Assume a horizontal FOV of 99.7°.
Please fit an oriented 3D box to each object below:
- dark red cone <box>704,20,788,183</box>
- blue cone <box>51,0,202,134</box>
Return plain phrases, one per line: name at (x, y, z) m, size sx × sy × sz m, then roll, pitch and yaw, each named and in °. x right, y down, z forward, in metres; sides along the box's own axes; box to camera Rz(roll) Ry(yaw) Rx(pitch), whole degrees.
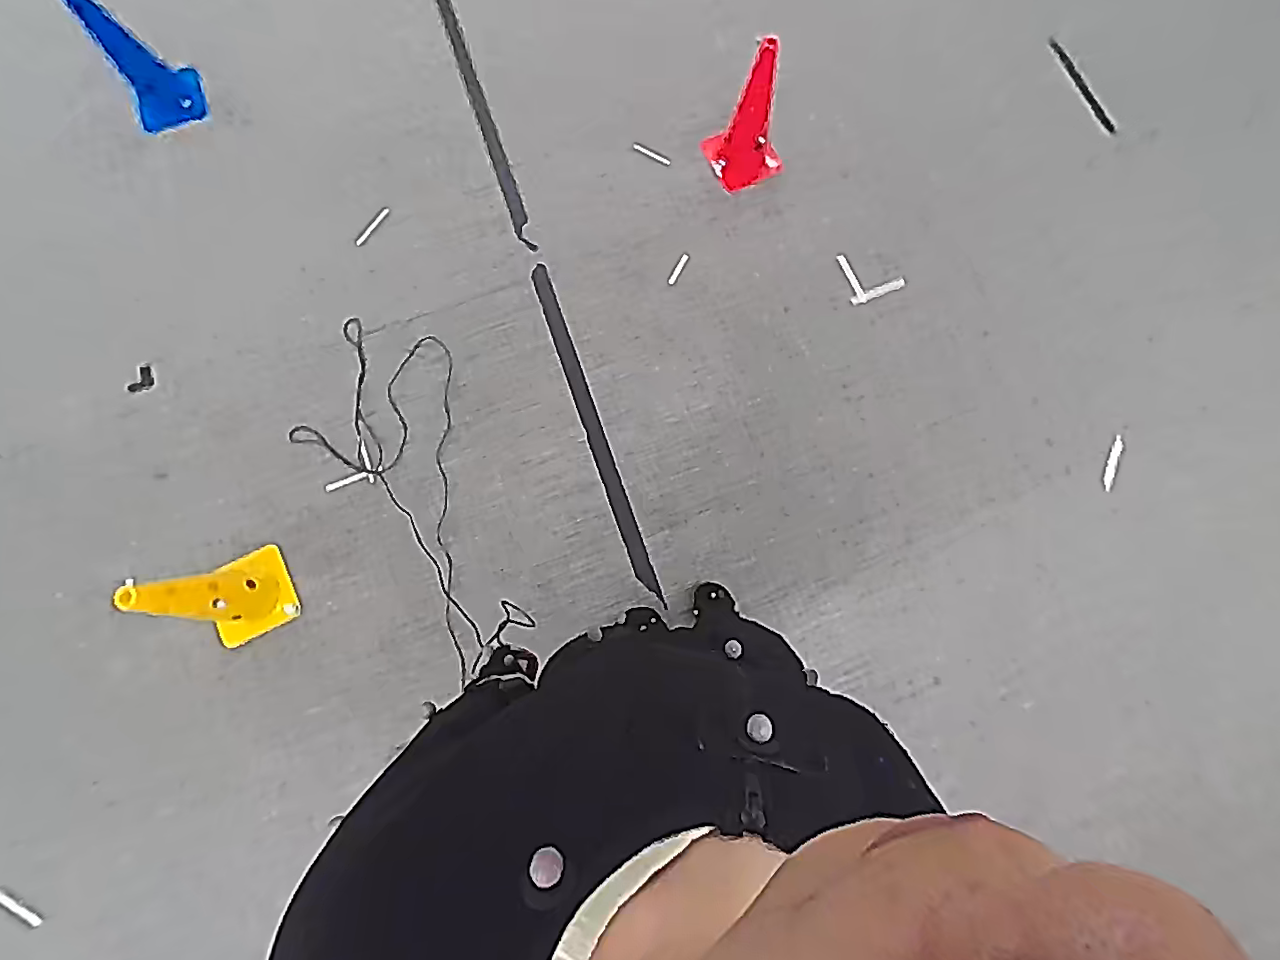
dark red cone at (0.313, -1.022, 1.448) m, size 0.201 × 0.394 × 0.202 m, roll -27°, pitch 80°, yaw -5°
blue cone at (-1.440, -1.184, 1.486) m, size 0.192 × 0.380 × 0.193 m, roll -19°, pitch 79°, yaw -4°
